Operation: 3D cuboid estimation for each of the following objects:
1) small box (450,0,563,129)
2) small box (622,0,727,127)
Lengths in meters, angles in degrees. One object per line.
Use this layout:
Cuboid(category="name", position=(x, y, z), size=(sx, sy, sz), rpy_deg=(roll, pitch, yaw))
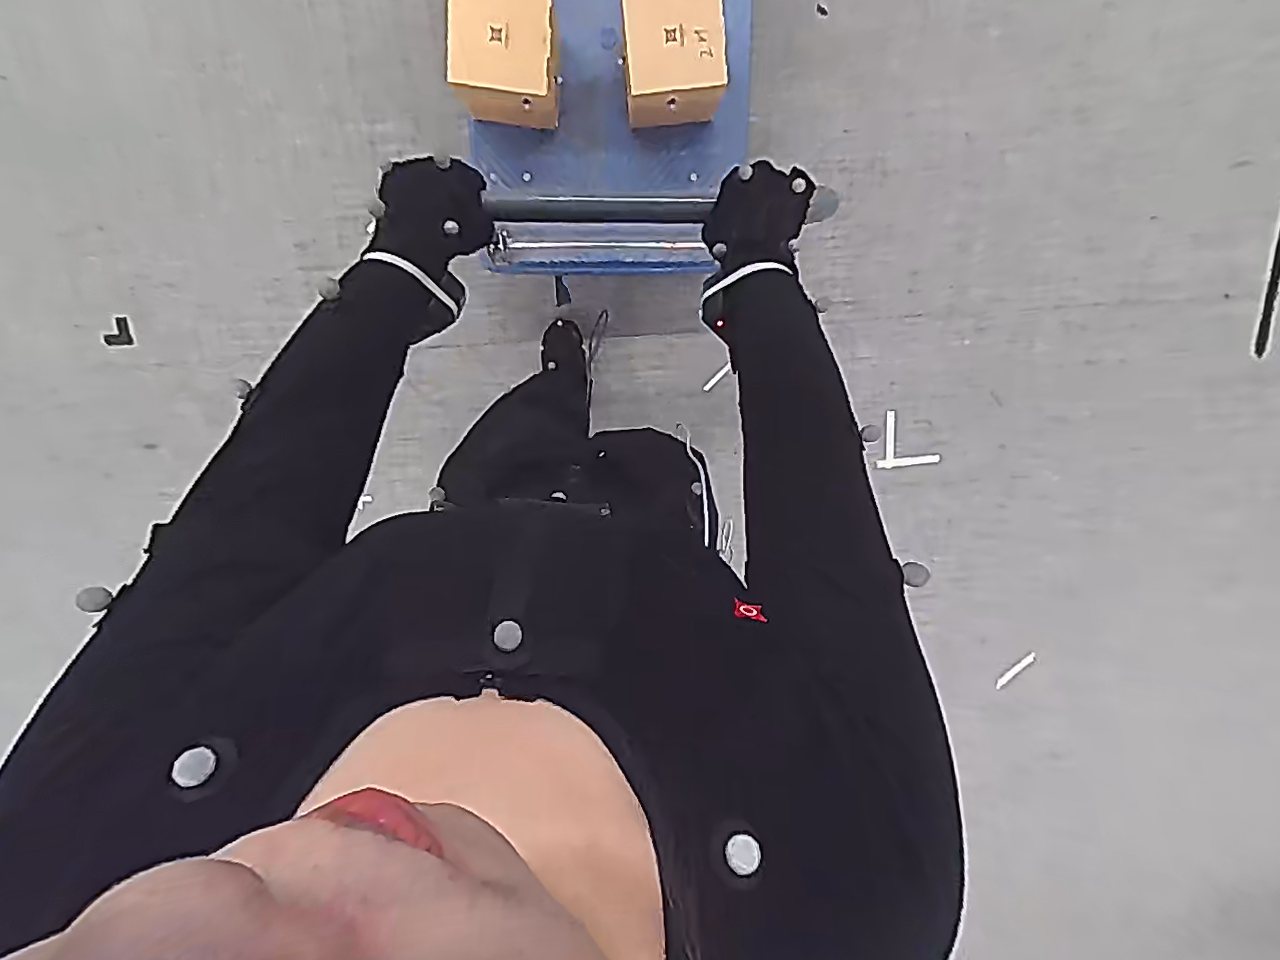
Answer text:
Cuboid(category="small box", position=(-0.243, -0.786, 1.012), size=(0.179, 0.176, 0.168), rpy_deg=(5, 105, -5))
Cuboid(category="small box", position=(0.061, -0.791, 1.020), size=(0.179, 0.176, 0.168), rpy_deg=(-6, 106, 0))
